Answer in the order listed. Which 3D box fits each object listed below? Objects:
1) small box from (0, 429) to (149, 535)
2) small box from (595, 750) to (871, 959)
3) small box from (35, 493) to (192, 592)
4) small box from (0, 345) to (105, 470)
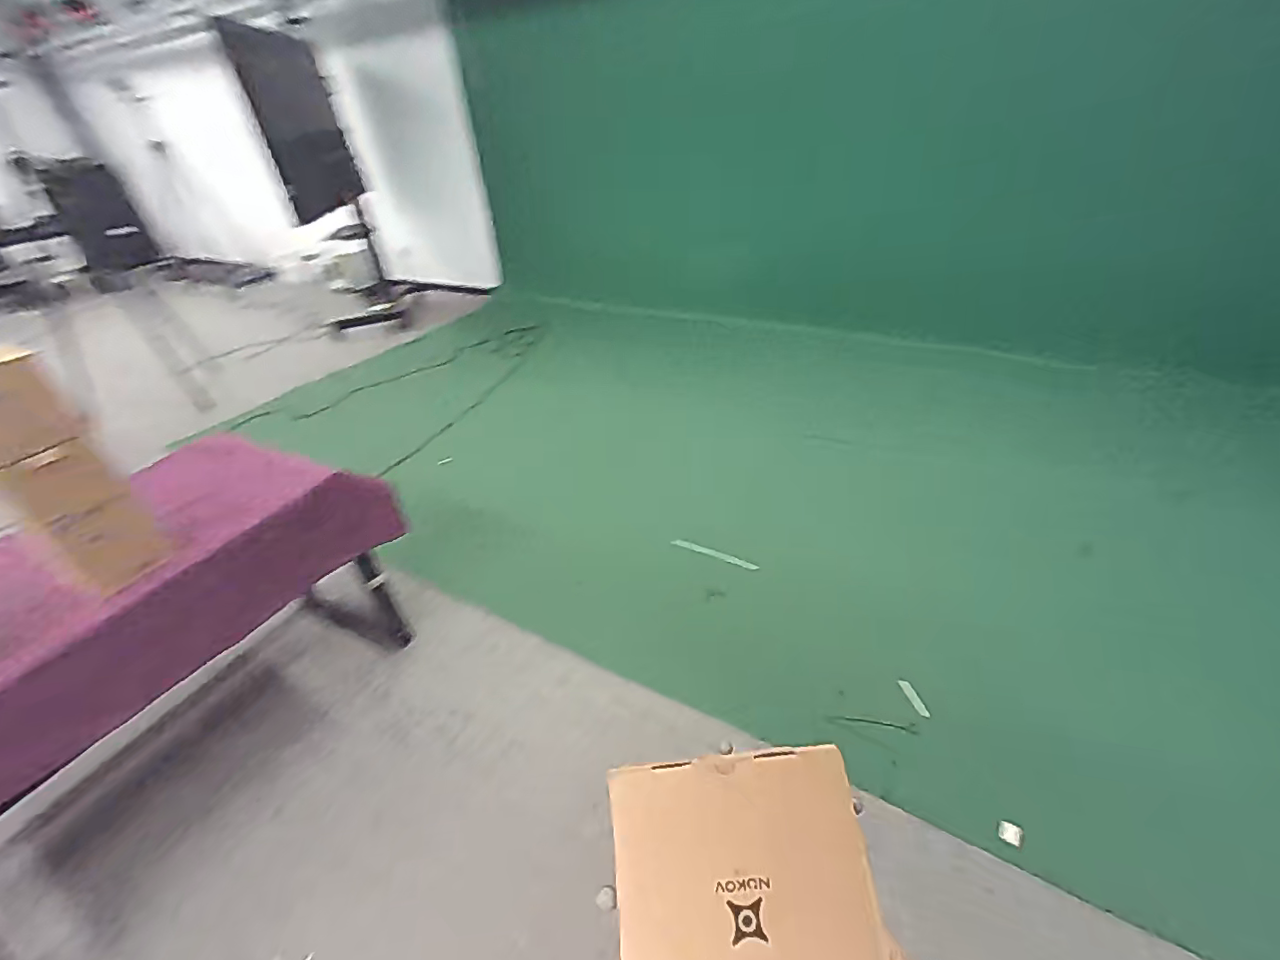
[{"bbox_3d":[-1.197,-0.007,1.131,0.179,0.176,0.168,13,40,25],"label":"small box"},{"bbox_3d":[0.062,0.313,0.415,0.168,0.176,0.179,-7,62,-1],"label":"small box"},{"bbox_3d":[-1.183,0.127,1.226,0.179,0.176,0.168,13,41,25],"label":"small box"},{"bbox_3d":[-1.206,-0.140,1.034,0.168,0.176,0.179,15,40,25],"label":"small box"}]
